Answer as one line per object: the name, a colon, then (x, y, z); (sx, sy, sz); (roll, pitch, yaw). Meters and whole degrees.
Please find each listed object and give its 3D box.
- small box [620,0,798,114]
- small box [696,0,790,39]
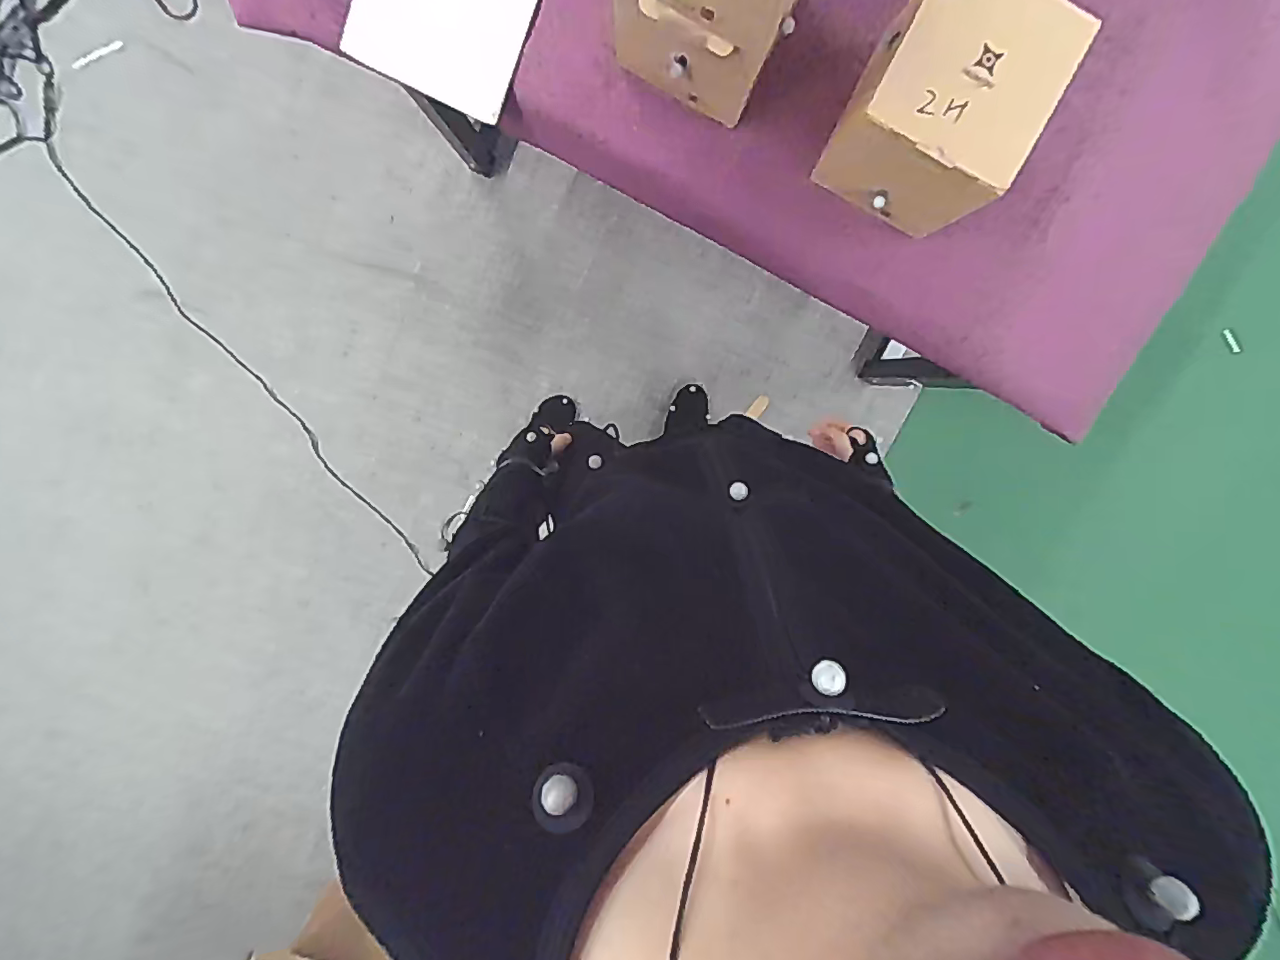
small box: (0.088, -0.543, 0.578); (0.168, 0.176, 0.179); (27, 100, -6)
small box: (0.086, -0.506, 0.417); (0.168, 0.176, 0.179); (27, 99, -5)
